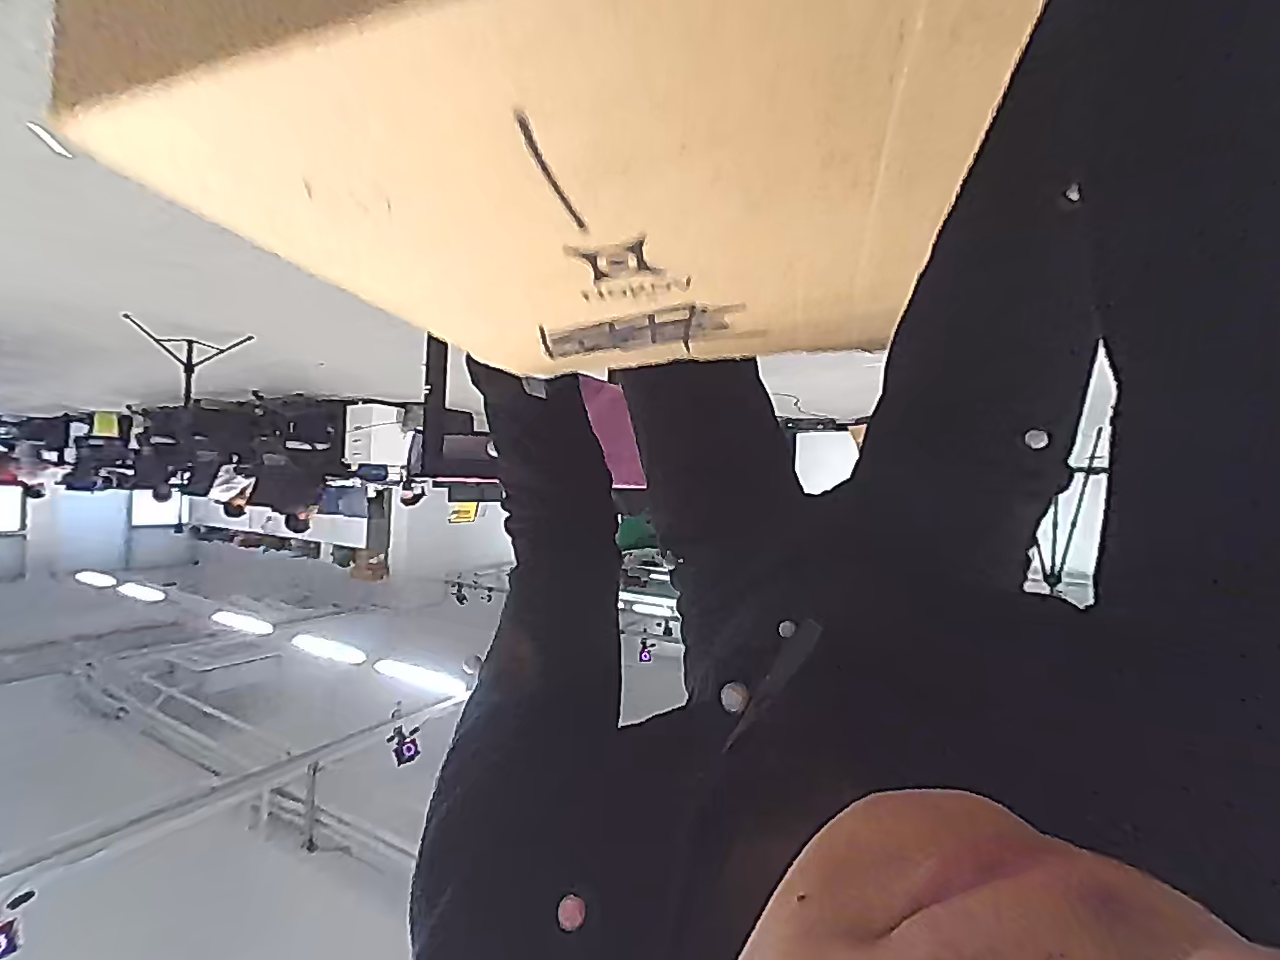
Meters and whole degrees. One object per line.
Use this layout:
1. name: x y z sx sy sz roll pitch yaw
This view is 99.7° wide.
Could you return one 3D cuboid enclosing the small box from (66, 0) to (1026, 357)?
1. small box: -0.005 -0.146 0.163 0.168 0.176 0.179 -2 176 17
